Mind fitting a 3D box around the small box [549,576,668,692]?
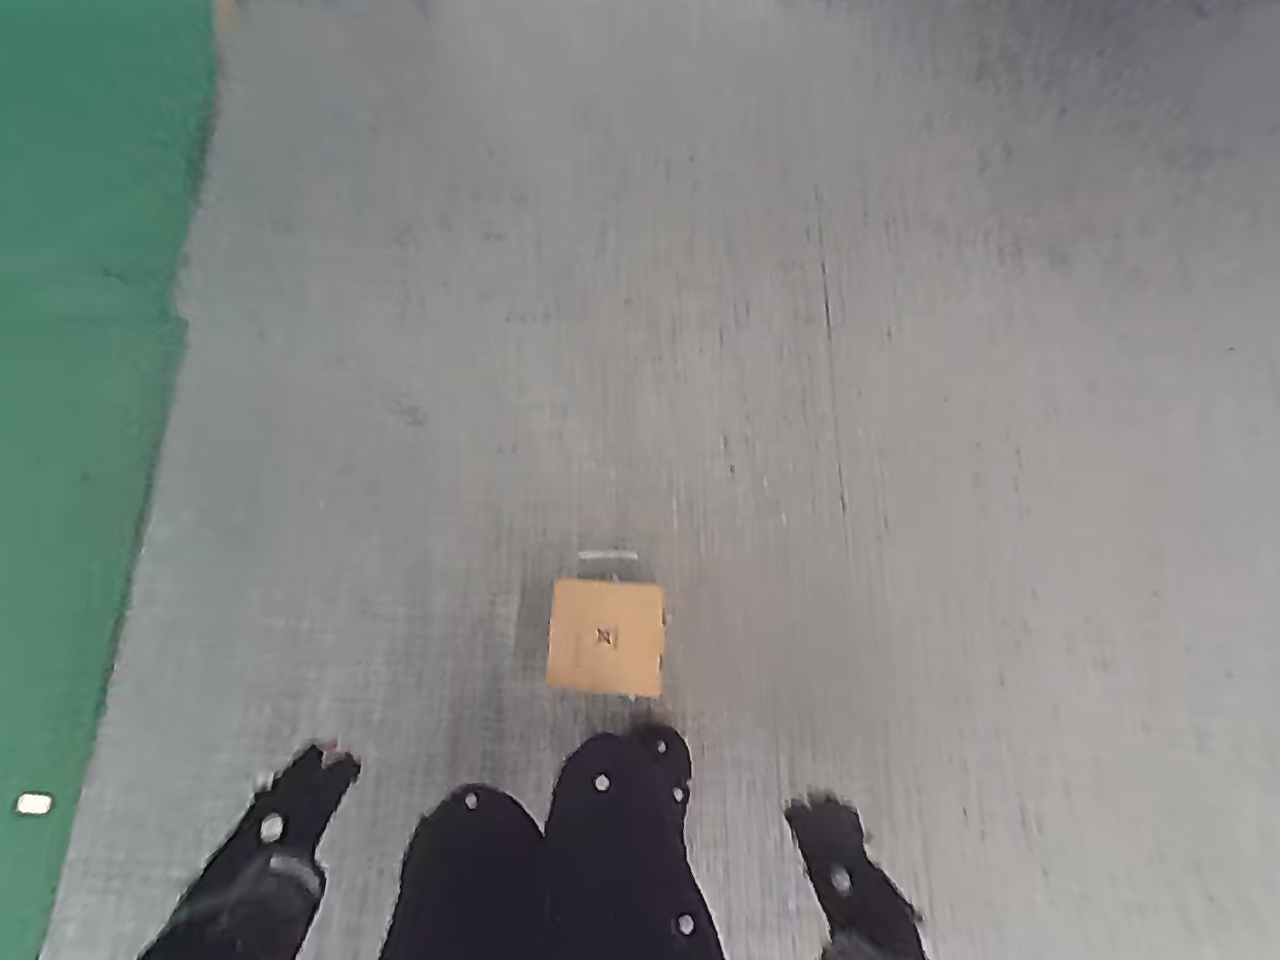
[{"bbox_3d":[-0.046,0.256,0.915,0.179,0.176,0.168,3,75,3],"label":"small box"}]
